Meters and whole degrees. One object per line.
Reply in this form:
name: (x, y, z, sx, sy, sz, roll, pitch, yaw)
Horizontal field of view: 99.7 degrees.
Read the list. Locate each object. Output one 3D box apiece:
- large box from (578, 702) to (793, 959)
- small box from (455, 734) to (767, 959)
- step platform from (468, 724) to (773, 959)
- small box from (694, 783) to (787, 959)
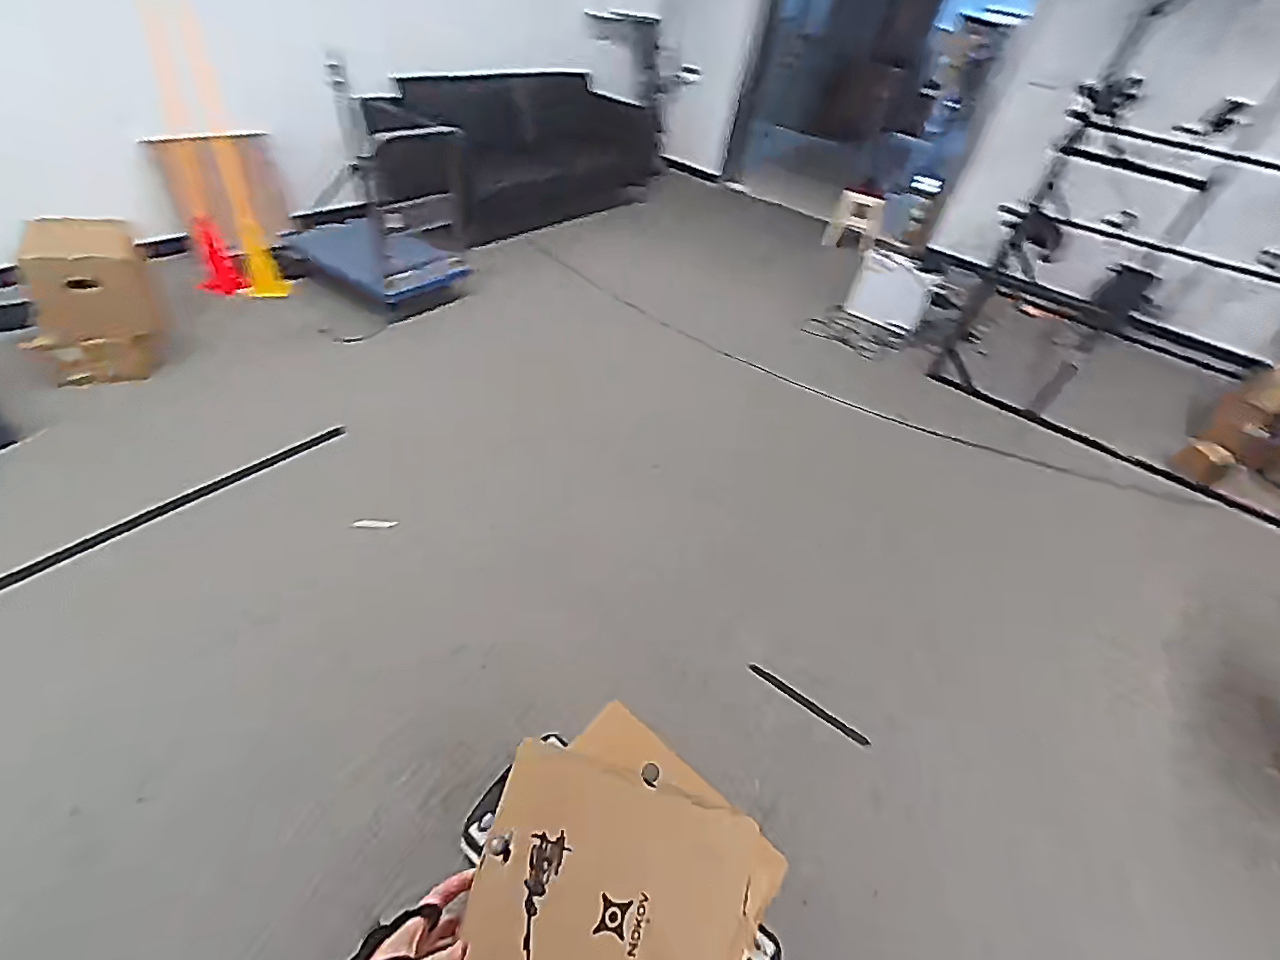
large box: (-0.009, 0.705, 0.974, 0.408, 0.320, 0.320, 35, 47, 25)
small box: (-0.030, 0.313, 0.428, 0.179, 0.176, 0.168, 23, 64, -9)
step platform: (-0.064, 0.865, 1.143, 0.684, 0.204, 0.286, 36, 48, 26)
small box: (0.071, 0.579, 0.763, 0.179, 0.176, 0.168, 37, 49, 26)
